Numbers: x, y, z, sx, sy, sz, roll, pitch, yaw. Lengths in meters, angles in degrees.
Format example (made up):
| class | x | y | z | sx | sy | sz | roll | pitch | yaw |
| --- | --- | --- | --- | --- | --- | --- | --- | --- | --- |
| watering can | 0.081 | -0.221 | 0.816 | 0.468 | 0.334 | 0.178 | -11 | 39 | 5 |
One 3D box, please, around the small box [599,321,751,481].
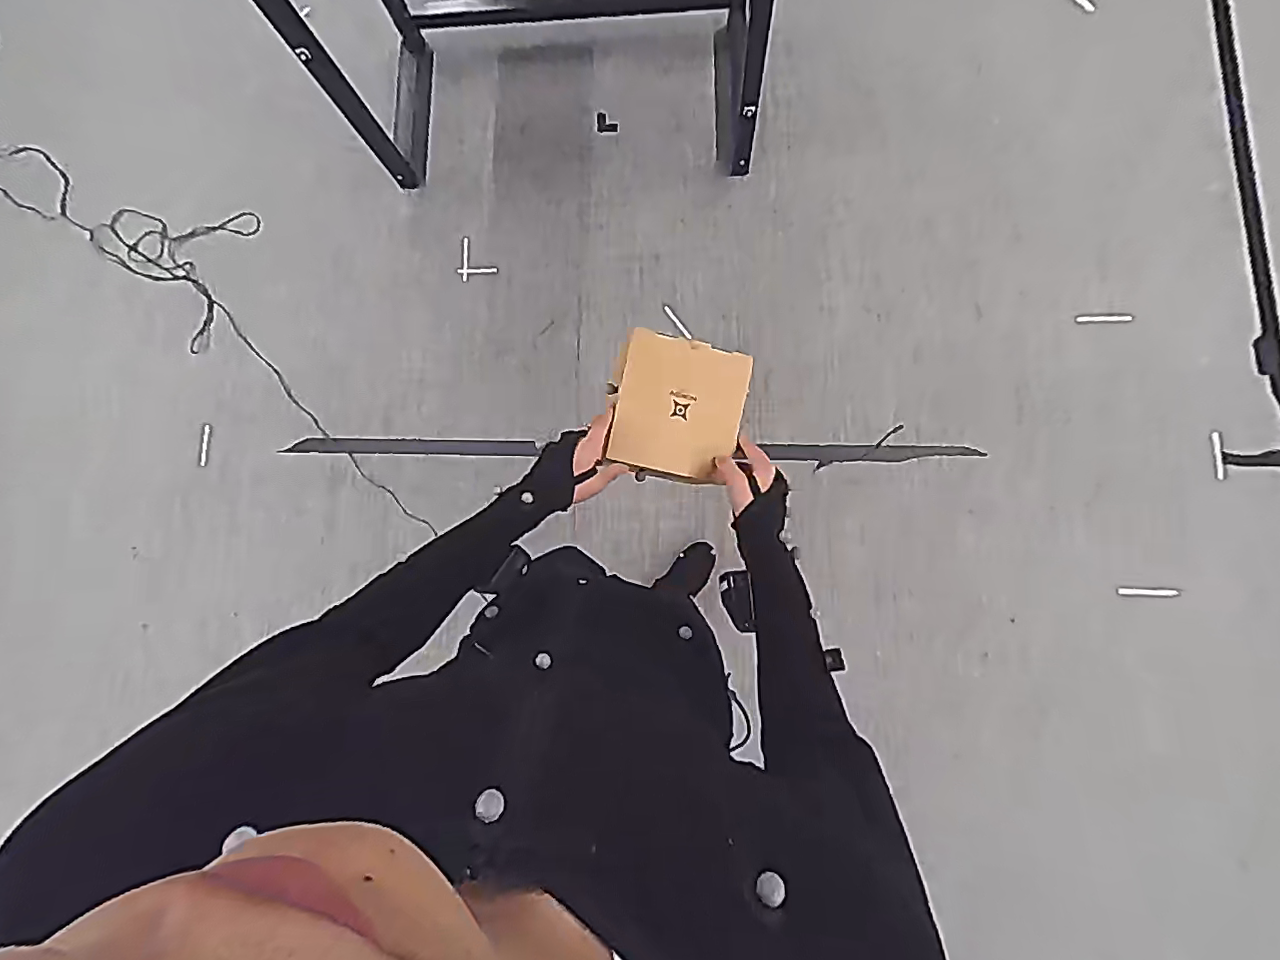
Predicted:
| class | x | y | z | sx | sy | sz | roll | pitch | yaw |
| --- | --- | --- | --- | --- | --- | --- | --- | --- | --- |
| small box | 0.039 | -0.098 | 0.767 | 0.168 | 0.176 | 0.179 | 12 | 86 | -8 |
